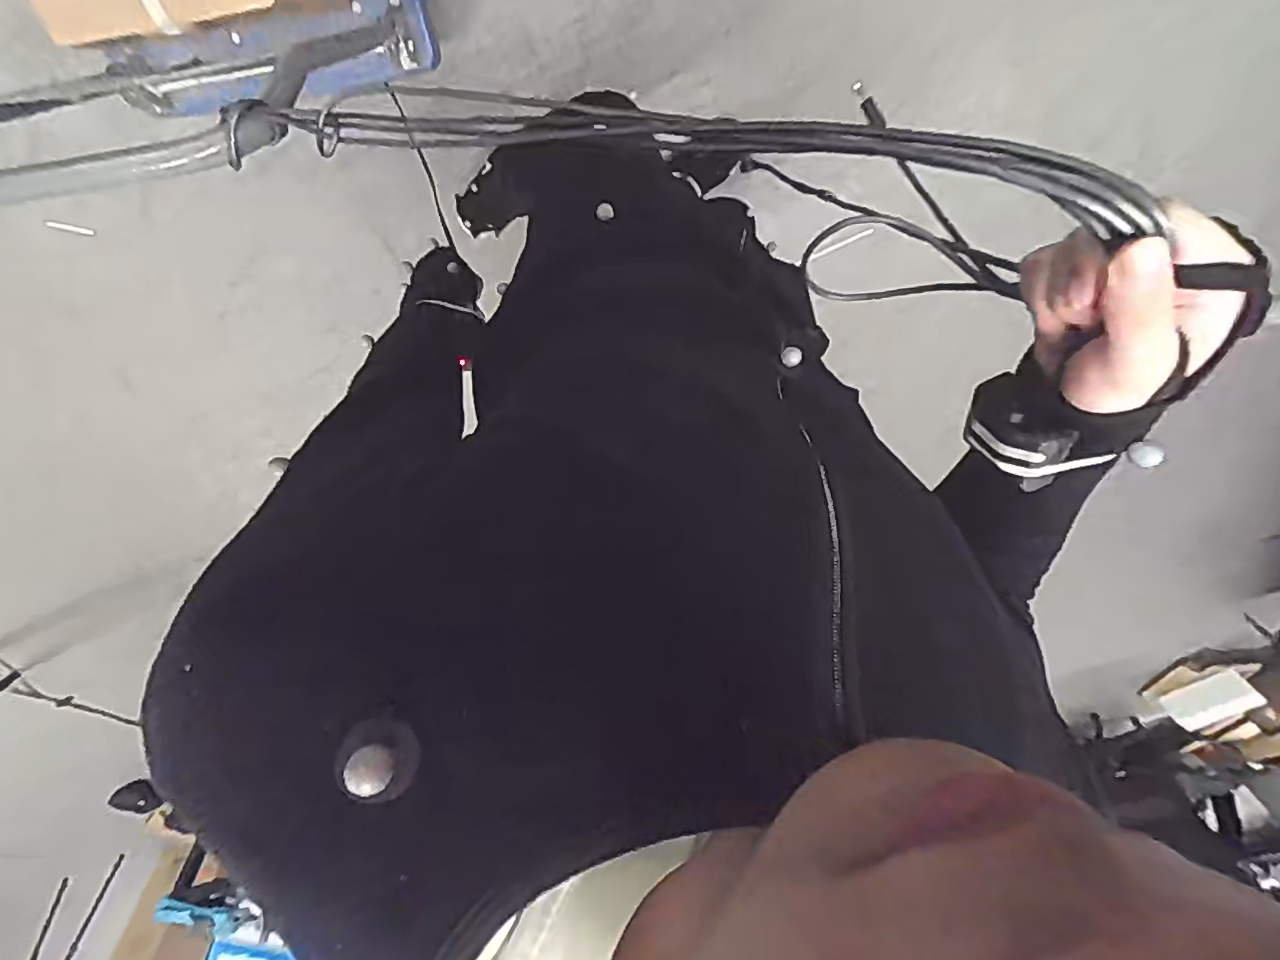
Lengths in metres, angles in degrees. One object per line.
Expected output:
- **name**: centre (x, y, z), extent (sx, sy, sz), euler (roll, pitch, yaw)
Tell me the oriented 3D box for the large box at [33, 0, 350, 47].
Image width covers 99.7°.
- **large box**: centre (-0.674, -0.858, 0.716), extent (0.320, 0.320, 0.408), euler (-9, 129, 2)
